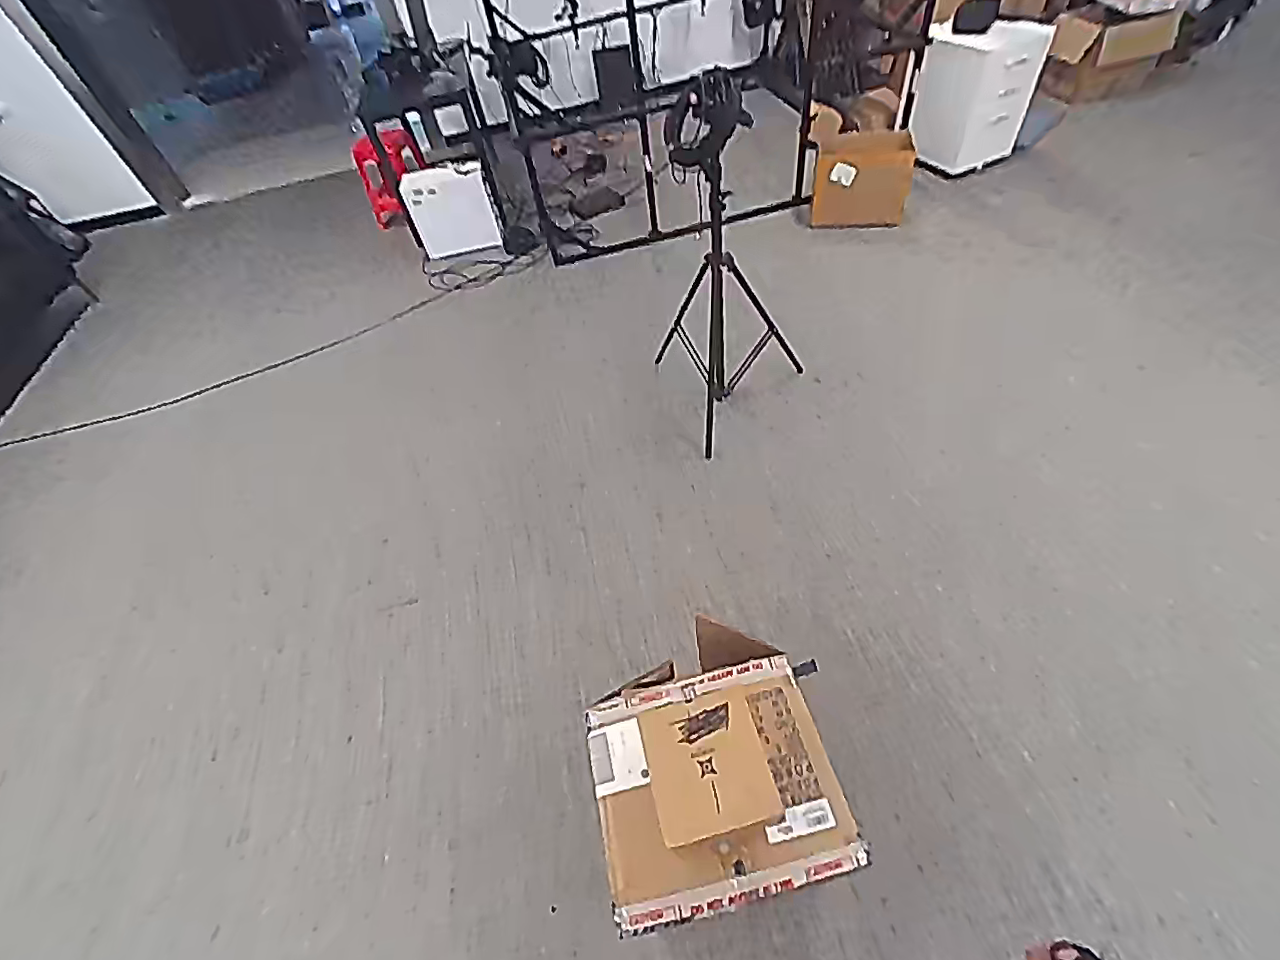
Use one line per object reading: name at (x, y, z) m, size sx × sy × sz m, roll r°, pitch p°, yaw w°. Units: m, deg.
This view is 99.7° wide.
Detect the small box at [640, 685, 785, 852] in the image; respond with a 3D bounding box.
small box at (0.104, 0.440, 0.821) m, size 0.168 × 0.176 × 0.179 m, roll -15°, pitch 53°, yaw -2°
